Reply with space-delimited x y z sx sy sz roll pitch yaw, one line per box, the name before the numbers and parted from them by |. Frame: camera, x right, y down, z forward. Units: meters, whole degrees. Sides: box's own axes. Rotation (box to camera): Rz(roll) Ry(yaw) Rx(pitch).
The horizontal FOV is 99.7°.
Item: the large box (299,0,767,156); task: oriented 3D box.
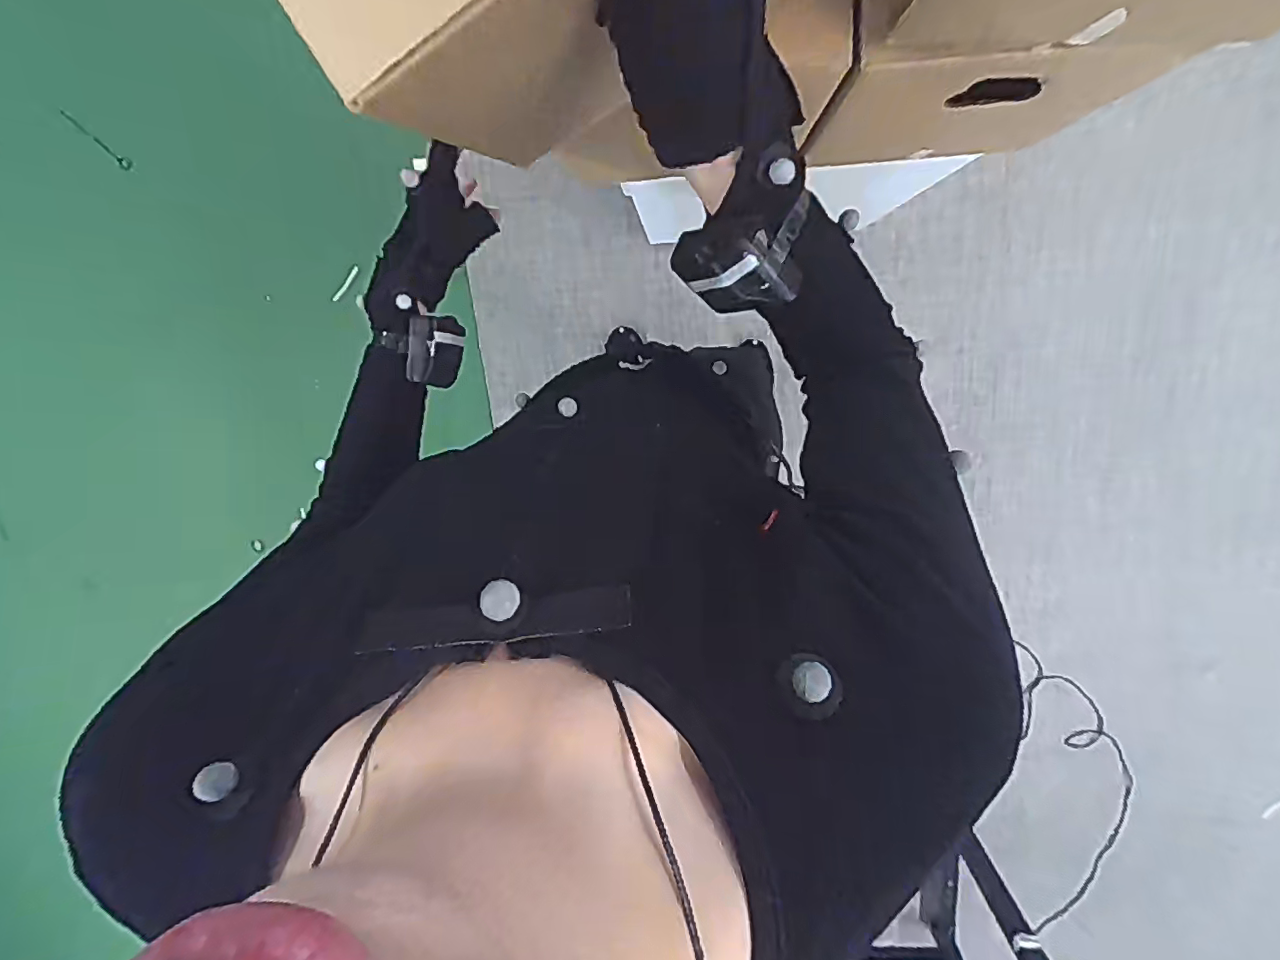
large box | -0.071 -0.453 0.260 0.320 0.320 0.408 -24 110 14
